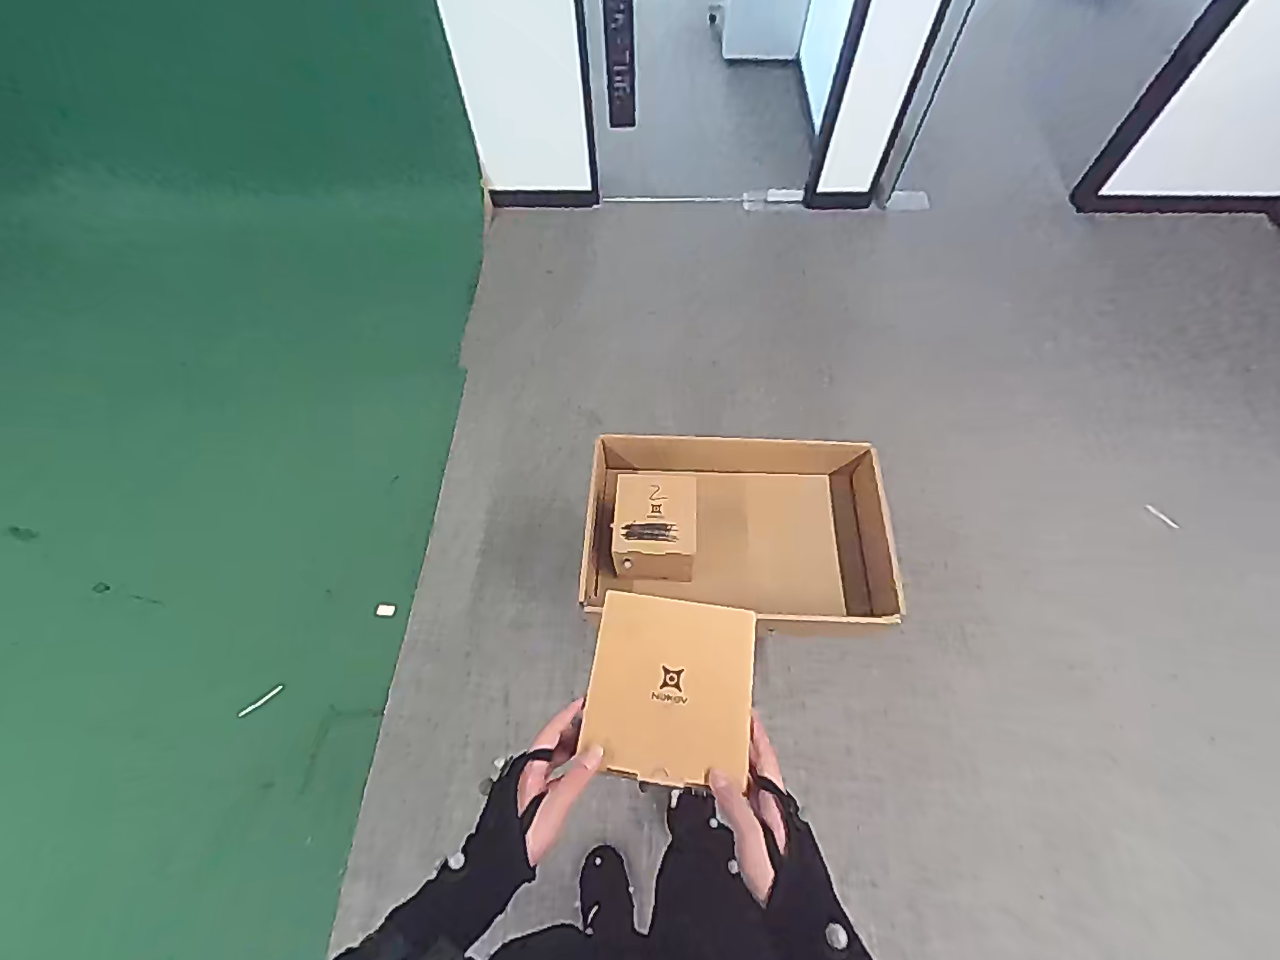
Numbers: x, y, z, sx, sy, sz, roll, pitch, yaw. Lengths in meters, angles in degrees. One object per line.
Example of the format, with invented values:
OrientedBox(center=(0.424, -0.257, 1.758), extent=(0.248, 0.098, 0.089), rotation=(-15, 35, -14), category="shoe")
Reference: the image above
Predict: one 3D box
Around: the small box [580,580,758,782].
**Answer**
OrientedBox(center=(0.033, 0.235, 0.622), extent=(0.168, 0.176, 0.179), rotation=(8, 61, 4), category="small box")
